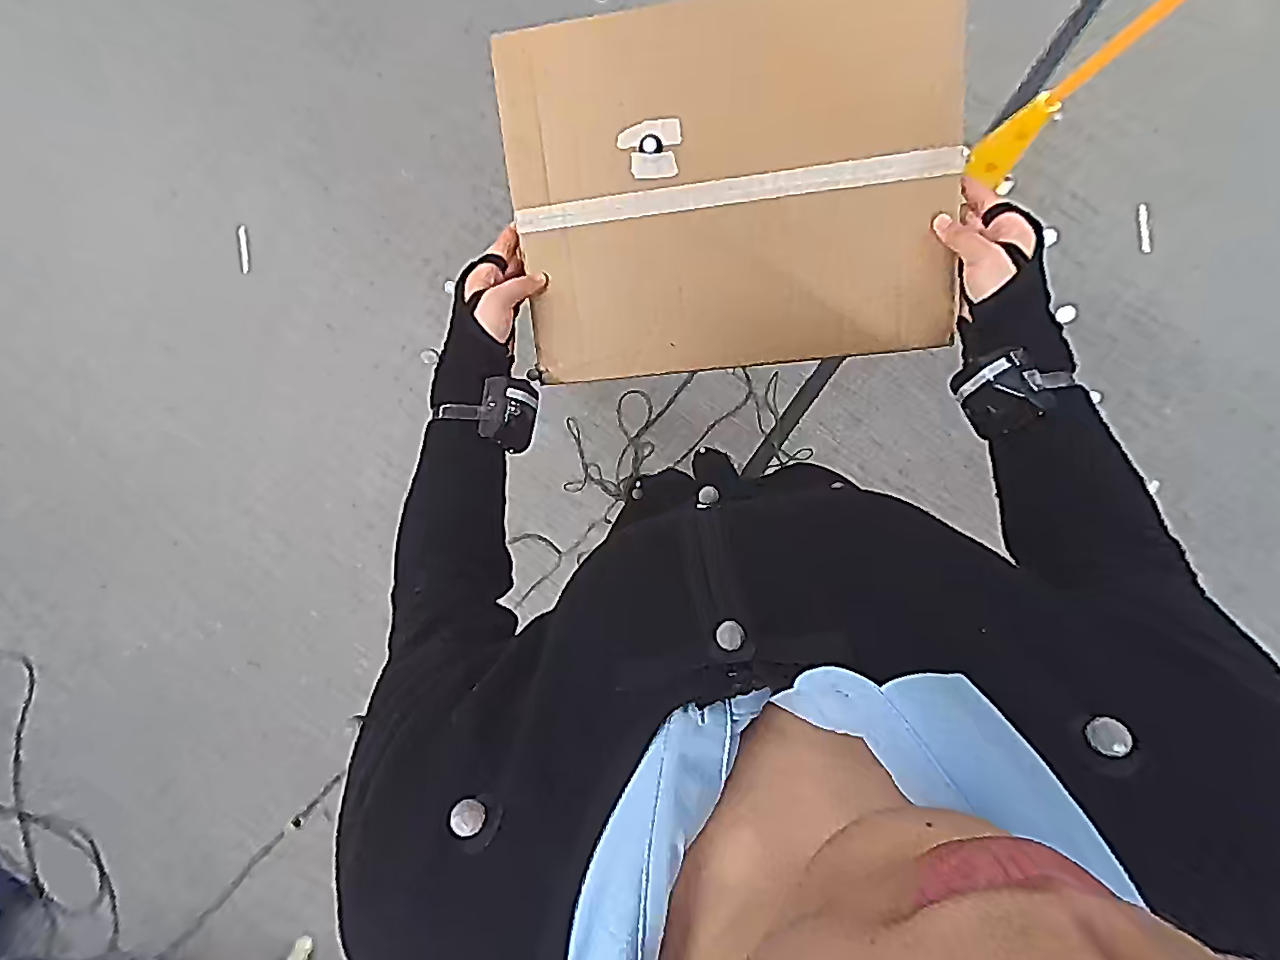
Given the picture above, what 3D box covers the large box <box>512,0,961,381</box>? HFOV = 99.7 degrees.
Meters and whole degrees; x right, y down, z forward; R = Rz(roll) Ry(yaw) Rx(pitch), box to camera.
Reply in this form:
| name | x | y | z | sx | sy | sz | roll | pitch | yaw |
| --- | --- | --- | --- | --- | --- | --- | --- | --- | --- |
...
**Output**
| name | x | y | z | sx | sy | sz | roll | pitch | yaw |
| --- | --- | --- | --- | --- | --- | --- | --- | --- | --- |
| large box | 0.108 | -0.304 | 0.656 | 0.408 | 0.320 | 0.320 | -4 | 103 | 8 |
